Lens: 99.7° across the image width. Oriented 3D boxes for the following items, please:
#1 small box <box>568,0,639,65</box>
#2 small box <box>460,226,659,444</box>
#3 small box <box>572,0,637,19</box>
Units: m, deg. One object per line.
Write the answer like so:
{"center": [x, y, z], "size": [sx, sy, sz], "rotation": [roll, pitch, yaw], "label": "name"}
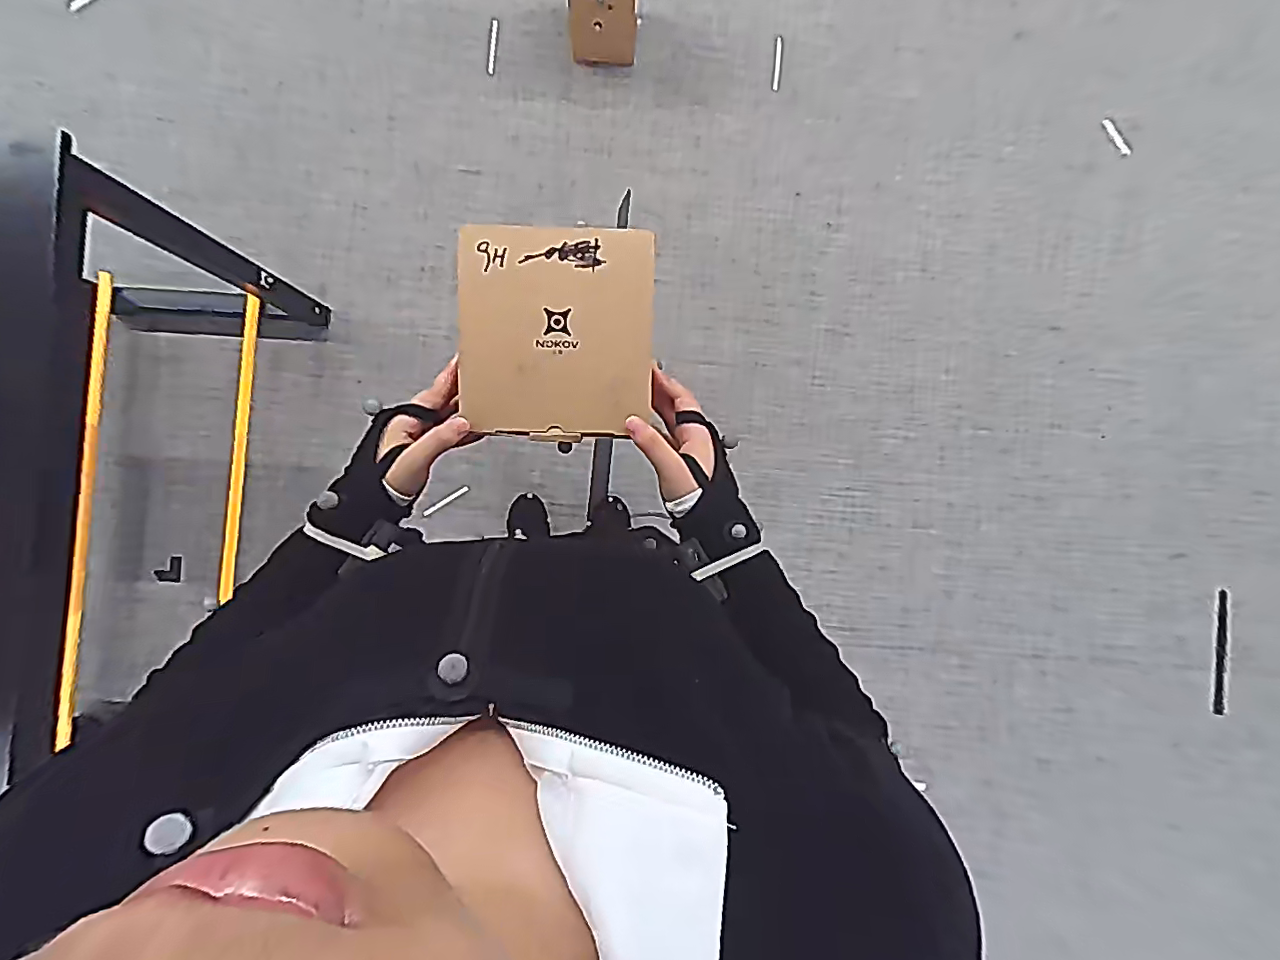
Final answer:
{"center": [-0.092, -1.243, 1.430], "size": [0.179, 0.176, 0.168], "rotation": [1, 89, -3], "label": "small box"}
{"center": [-0.069, -0.127, 0.529], "size": [0.168, 0.176, 0.179], "rotation": [1, 95, -2], "label": "small box"}
{"center": [-0.080, -1.246, 1.266], "size": [0.168, 0.176, 0.179], "rotation": [5, 89, -2], "label": "small box"}
